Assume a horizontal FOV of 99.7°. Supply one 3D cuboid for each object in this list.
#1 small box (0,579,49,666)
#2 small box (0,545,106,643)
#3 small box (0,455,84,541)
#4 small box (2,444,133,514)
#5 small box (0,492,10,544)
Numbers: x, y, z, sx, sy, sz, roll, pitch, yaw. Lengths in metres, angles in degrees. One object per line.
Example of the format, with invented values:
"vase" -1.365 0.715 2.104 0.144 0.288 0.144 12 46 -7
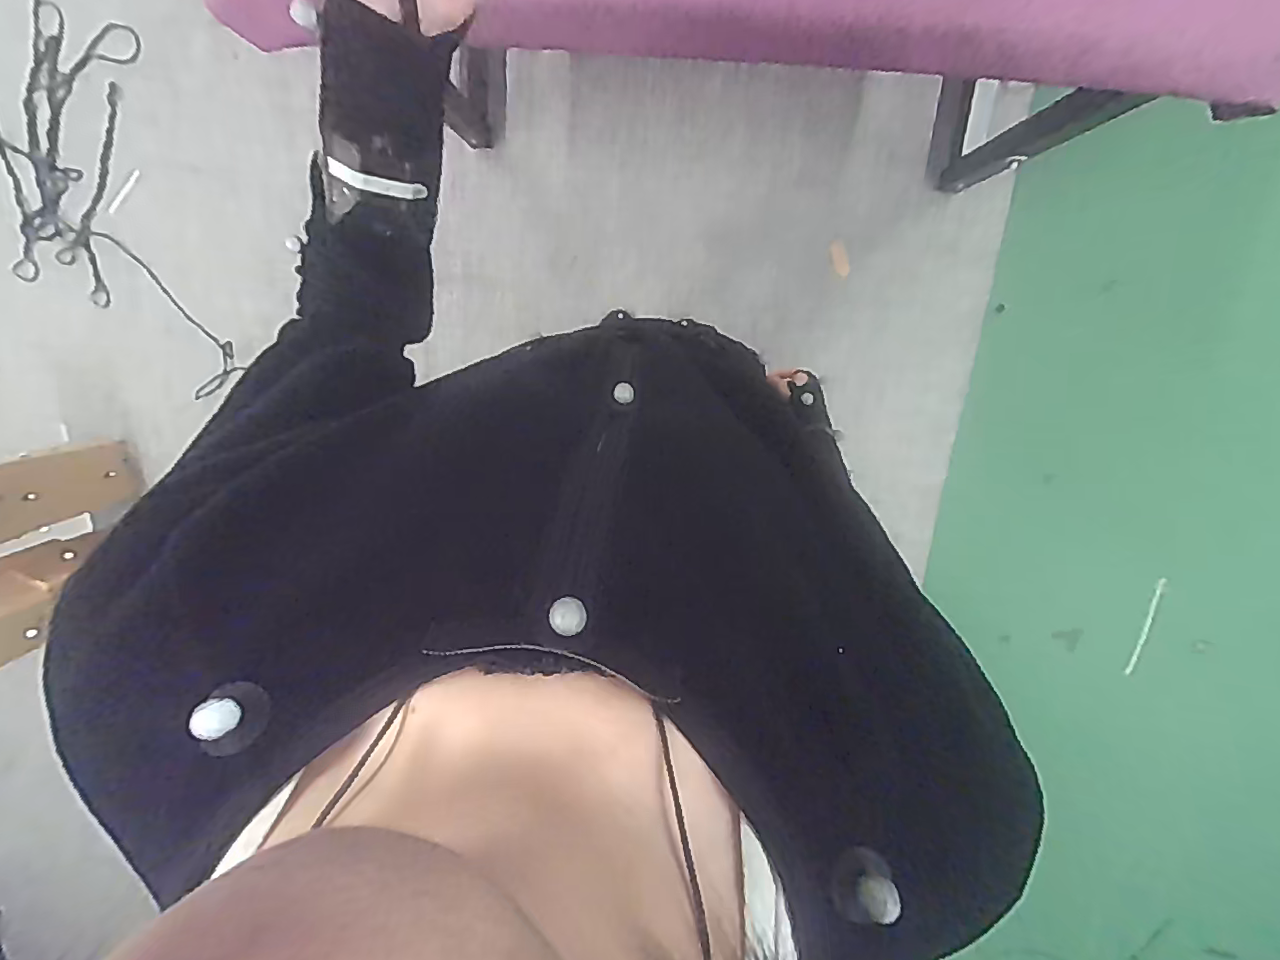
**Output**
"small box" -1.567 0.345 1.263 0.179 0.176 0.168 25 104 -4
"small box" -1.568 0.299 1.421 0.168 0.176 0.179 21 104 -2
"small box" -1.568 0.047 1.349 0.168 0.176 0.179 -7 105 4
"small box" -1.574 -0.003 1.504 0.179 0.176 0.168 -3 105 4
"small box" -1.568 0.088 1.191 0.179 0.176 0.168 0 106 0
